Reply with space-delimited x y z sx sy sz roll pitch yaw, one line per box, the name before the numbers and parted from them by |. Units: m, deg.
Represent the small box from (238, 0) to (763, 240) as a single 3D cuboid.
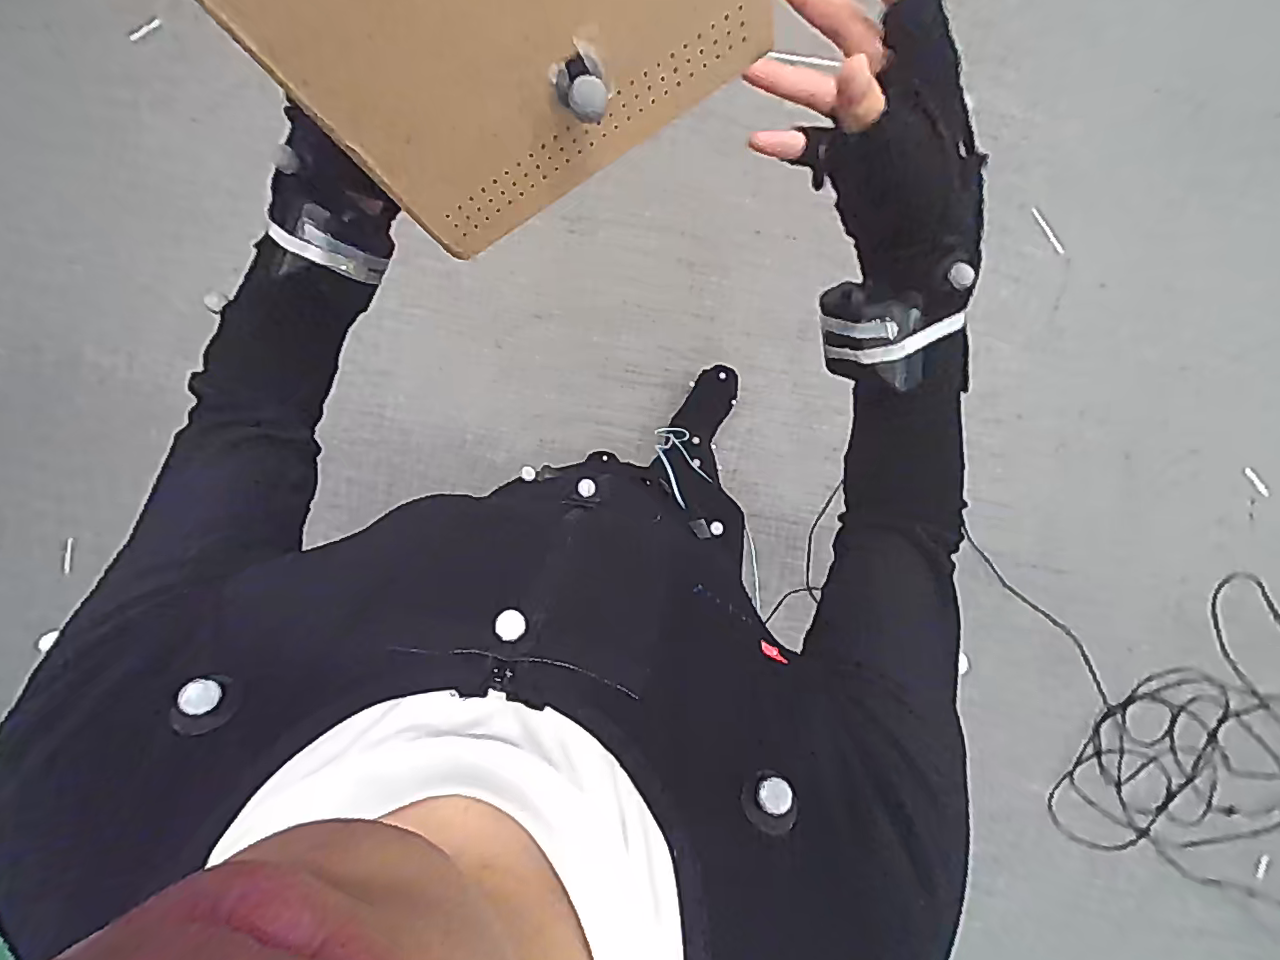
small box | -0.062 -0.234 0.196 0.179 0.176 0.168 -30 71 7
